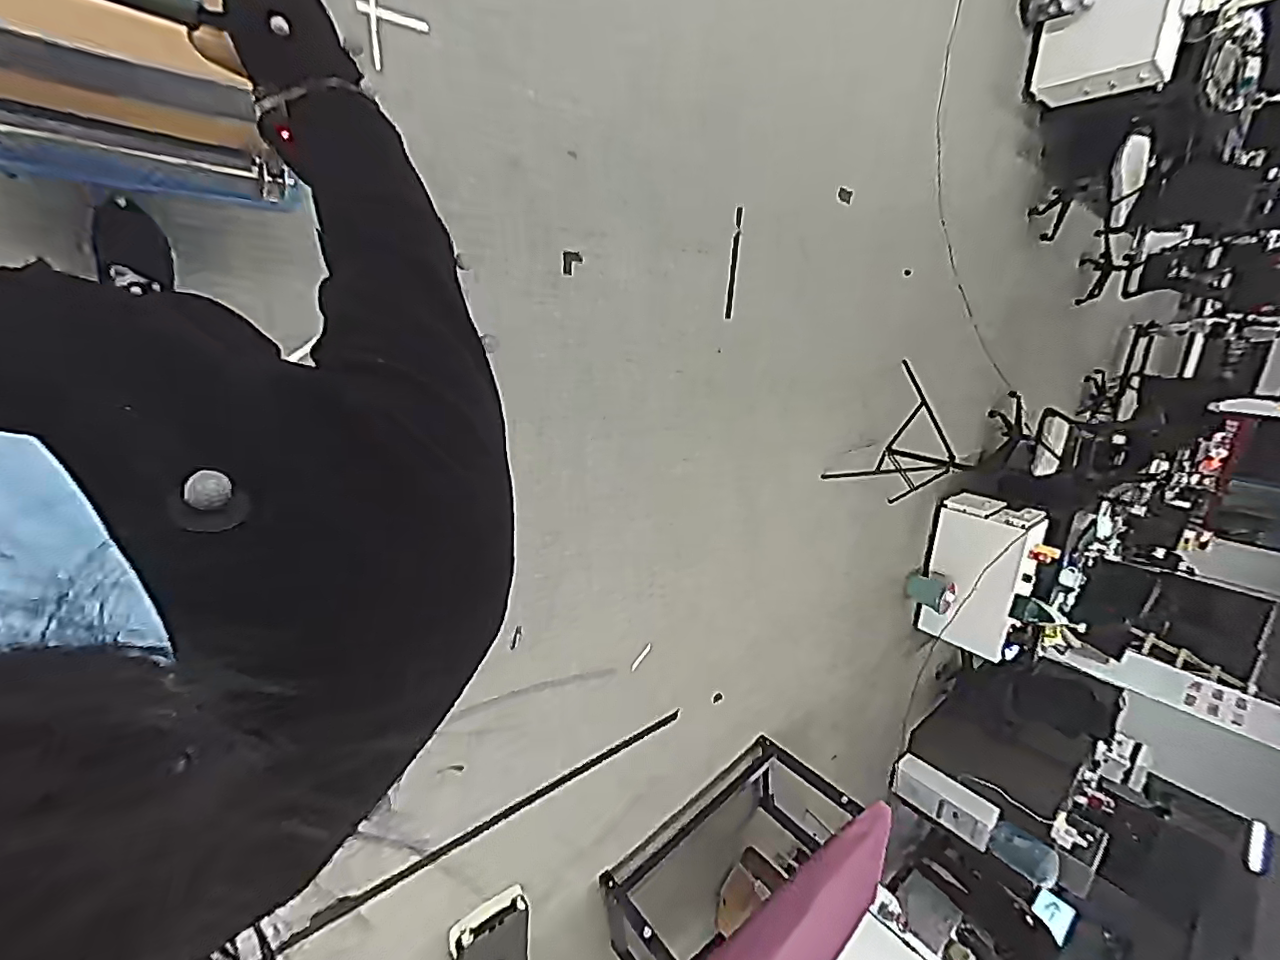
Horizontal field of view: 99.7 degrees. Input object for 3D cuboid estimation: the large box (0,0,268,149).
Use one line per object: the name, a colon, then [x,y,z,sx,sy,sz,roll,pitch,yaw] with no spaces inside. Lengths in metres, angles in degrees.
large box: [-0.760,-0.678,0.699,0.408,0.320,0.320,-9,110,-40]
